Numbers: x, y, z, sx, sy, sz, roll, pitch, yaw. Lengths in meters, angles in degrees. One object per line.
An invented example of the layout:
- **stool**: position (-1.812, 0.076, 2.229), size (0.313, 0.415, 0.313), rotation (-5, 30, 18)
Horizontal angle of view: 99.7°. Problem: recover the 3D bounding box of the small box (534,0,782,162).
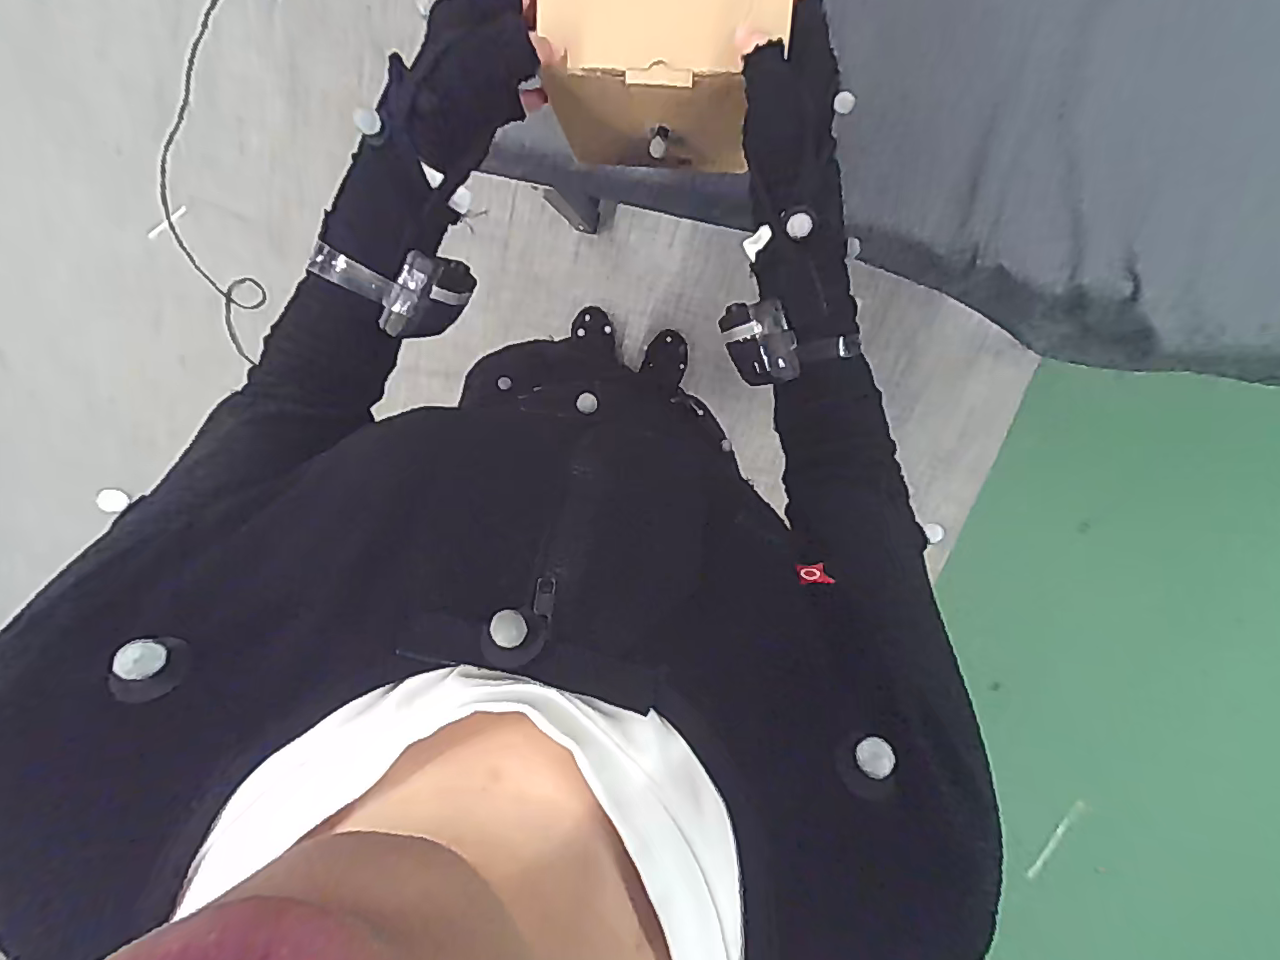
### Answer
- **small box**: position (0.020, -0.369, 0.420), size (0.168, 0.176, 0.179), rotation (4, 102, 3)
